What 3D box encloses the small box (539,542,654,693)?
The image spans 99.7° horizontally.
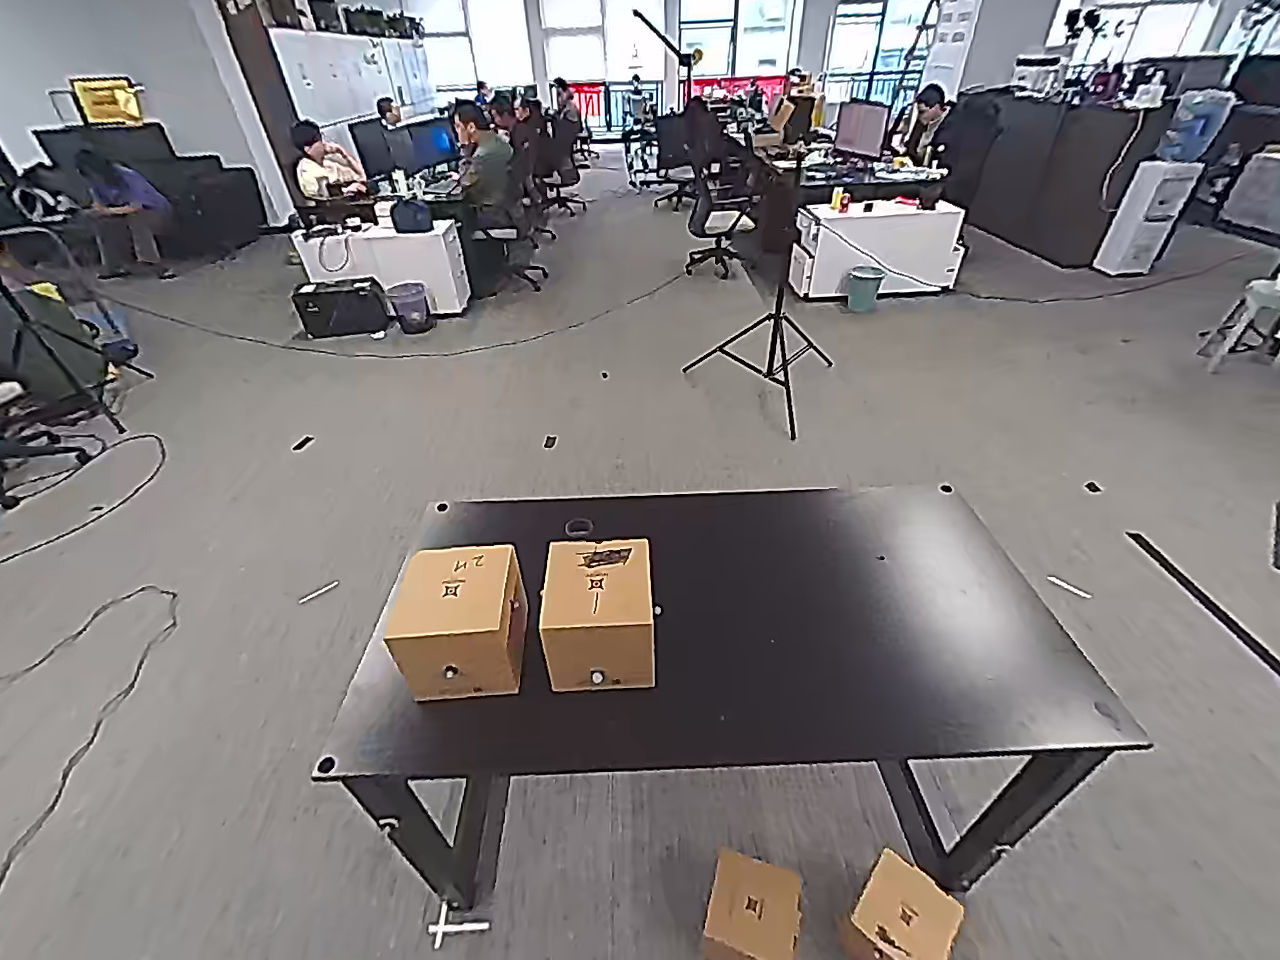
[{"bbox_3d":[-0.063,0.223,0.884,0.168,0.176,0.179,-3,38,0],"label":"small box"}]

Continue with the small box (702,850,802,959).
[{"bbox_3d":[0.235,0.933,1.147,0.179,0.176,0.168,10,39,17],"label":"small box"}]

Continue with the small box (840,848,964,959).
[{"bbox_3d":[0.538,0.931,1.129,0.168,0.176,0.179,27,47,33],"label":"small box"}]
